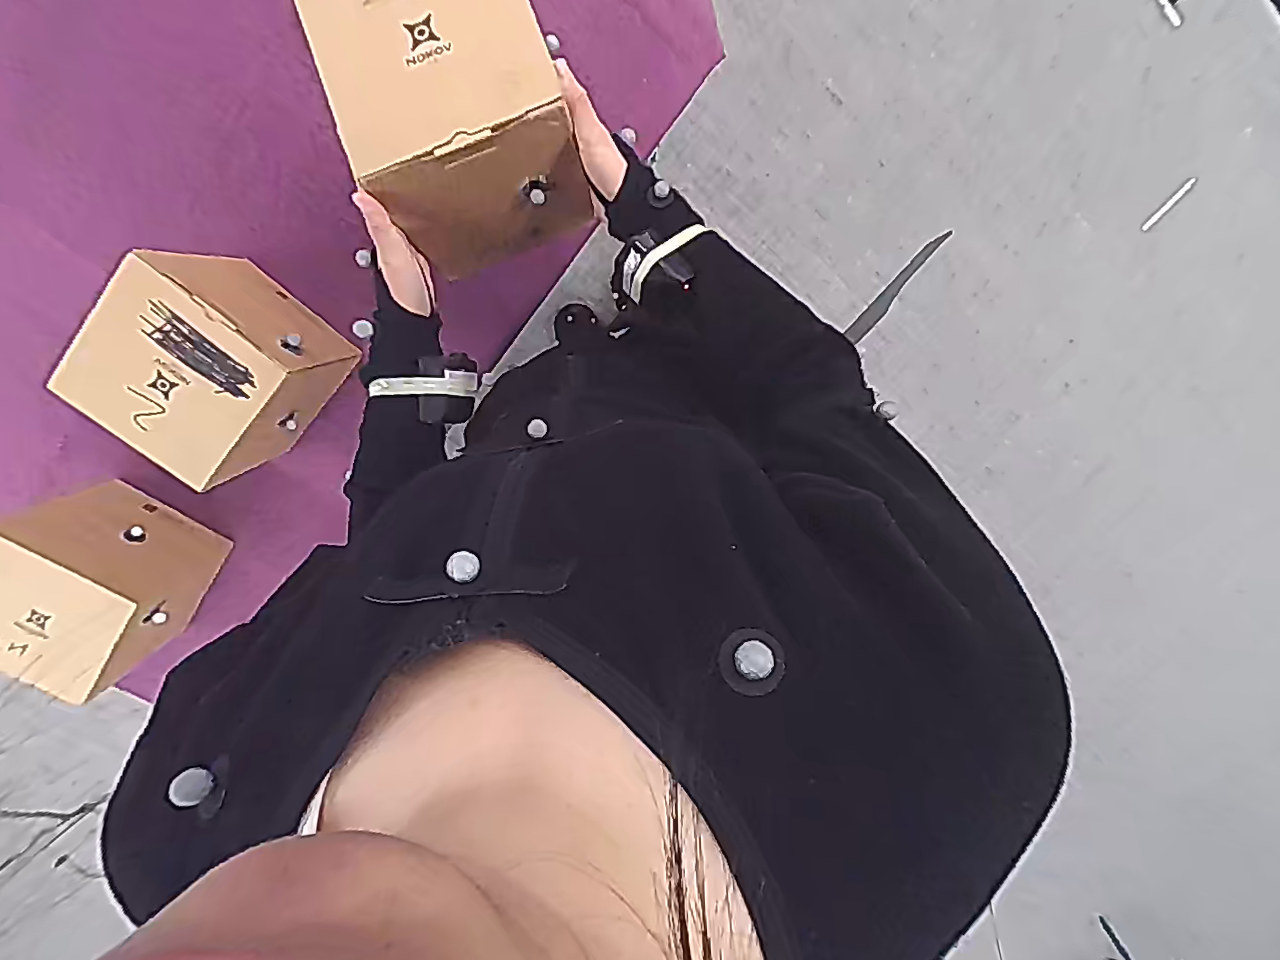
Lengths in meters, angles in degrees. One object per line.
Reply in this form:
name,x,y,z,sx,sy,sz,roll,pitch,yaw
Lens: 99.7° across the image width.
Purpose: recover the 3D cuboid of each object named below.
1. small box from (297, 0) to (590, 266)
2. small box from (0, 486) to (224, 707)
small box,-0.153,-0.316,0.476,0.168,0.176,0.179,-21,84,0
small box,-0.680,0.135,0.680,0.168,0.176,0.179,35,104,-12
